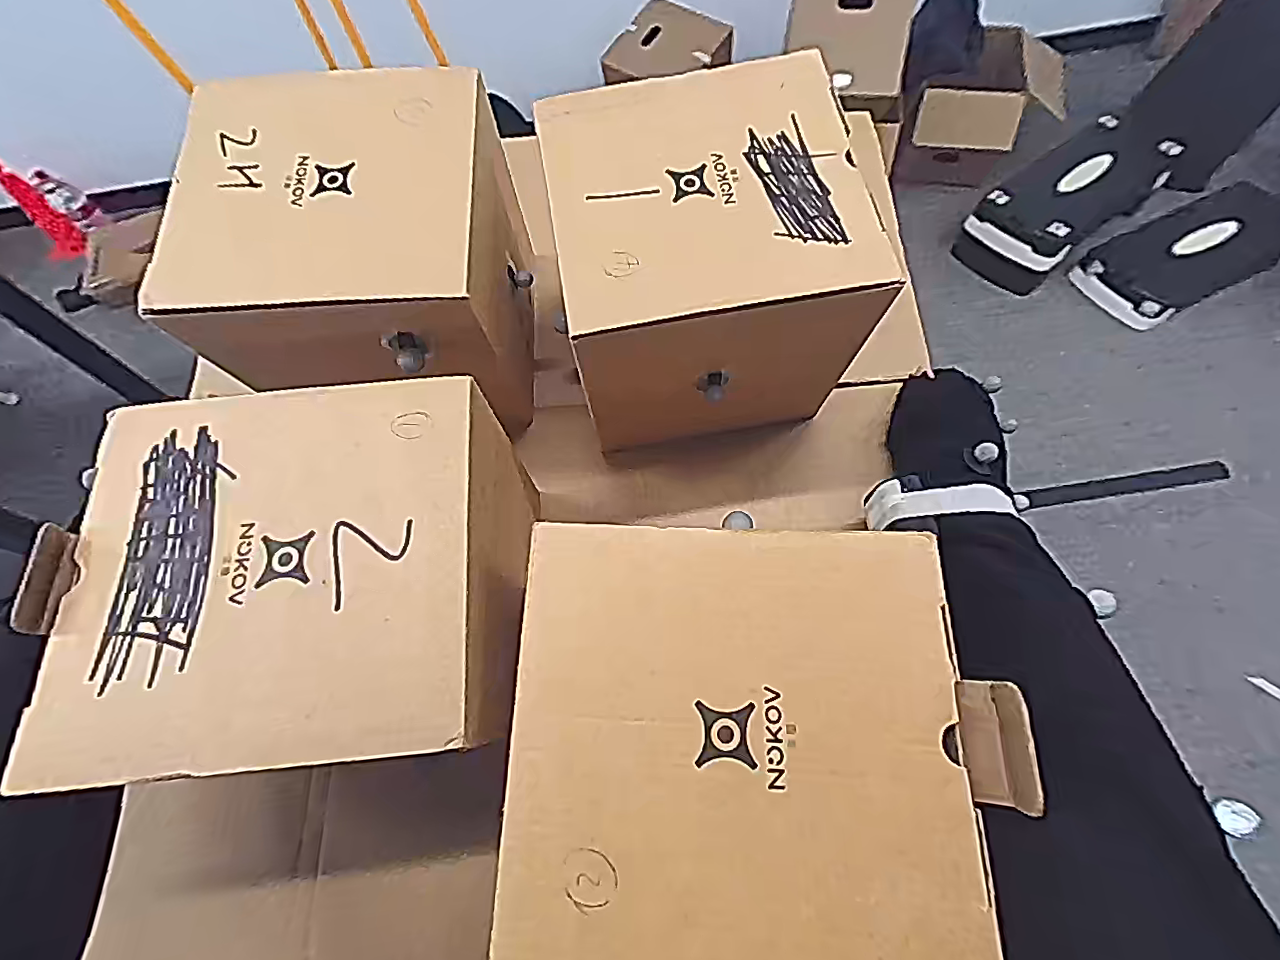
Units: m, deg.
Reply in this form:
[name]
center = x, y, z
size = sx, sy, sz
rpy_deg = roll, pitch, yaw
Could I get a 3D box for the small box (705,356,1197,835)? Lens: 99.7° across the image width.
[small box]
center = 0.140, 0.055, 0.293
size = 0.179, 0.176, 0.168
rpy_deg = 14, 77, 6
